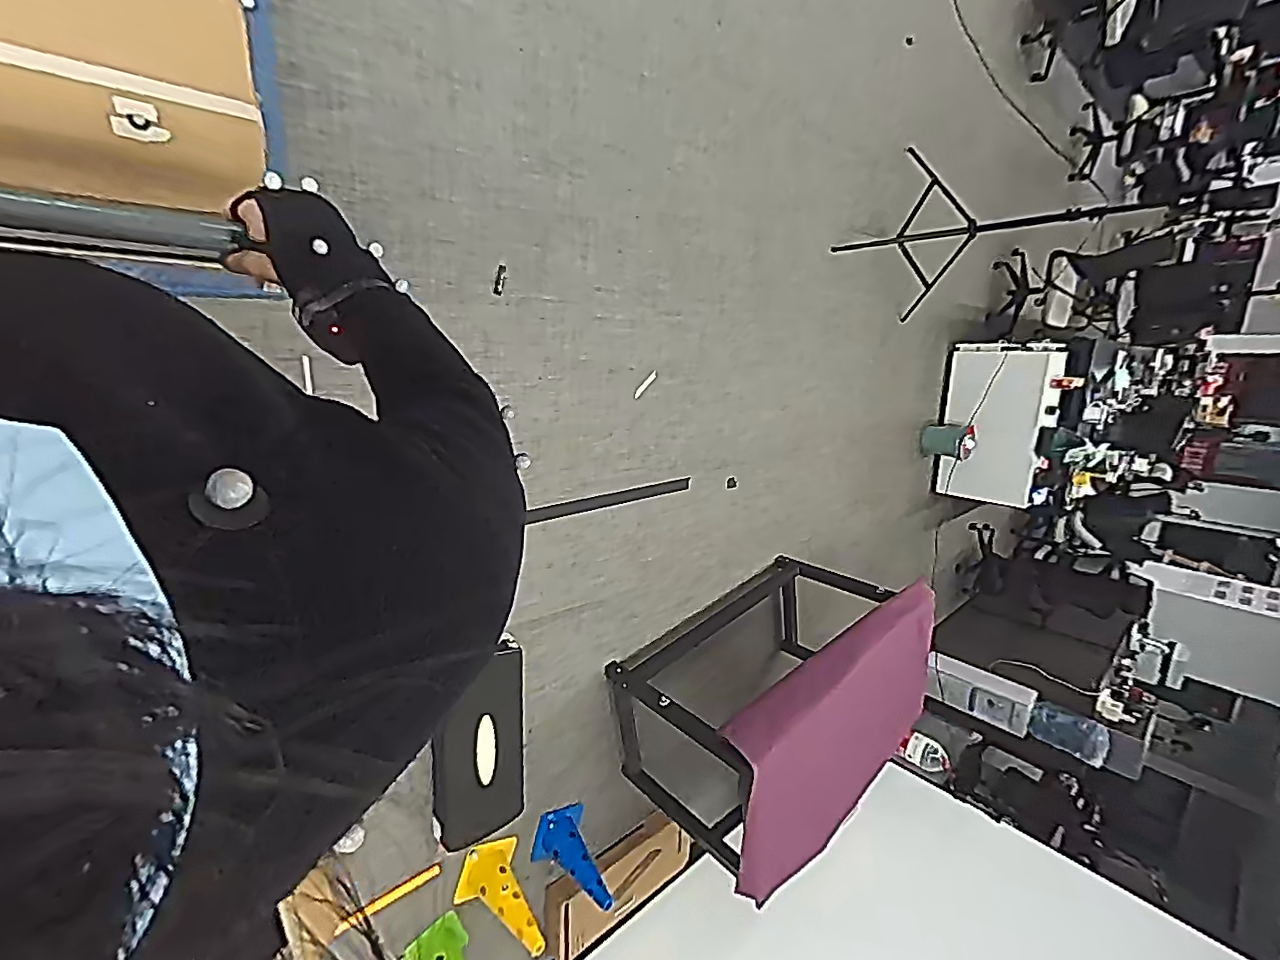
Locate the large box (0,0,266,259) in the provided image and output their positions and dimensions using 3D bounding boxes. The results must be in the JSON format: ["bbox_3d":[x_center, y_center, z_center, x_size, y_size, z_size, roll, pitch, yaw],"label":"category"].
[{"bbox_3d":[-0.813,-0.516,0.764,0.408,0.320,0.320,-11,107,-41],"label":"large box"}]
